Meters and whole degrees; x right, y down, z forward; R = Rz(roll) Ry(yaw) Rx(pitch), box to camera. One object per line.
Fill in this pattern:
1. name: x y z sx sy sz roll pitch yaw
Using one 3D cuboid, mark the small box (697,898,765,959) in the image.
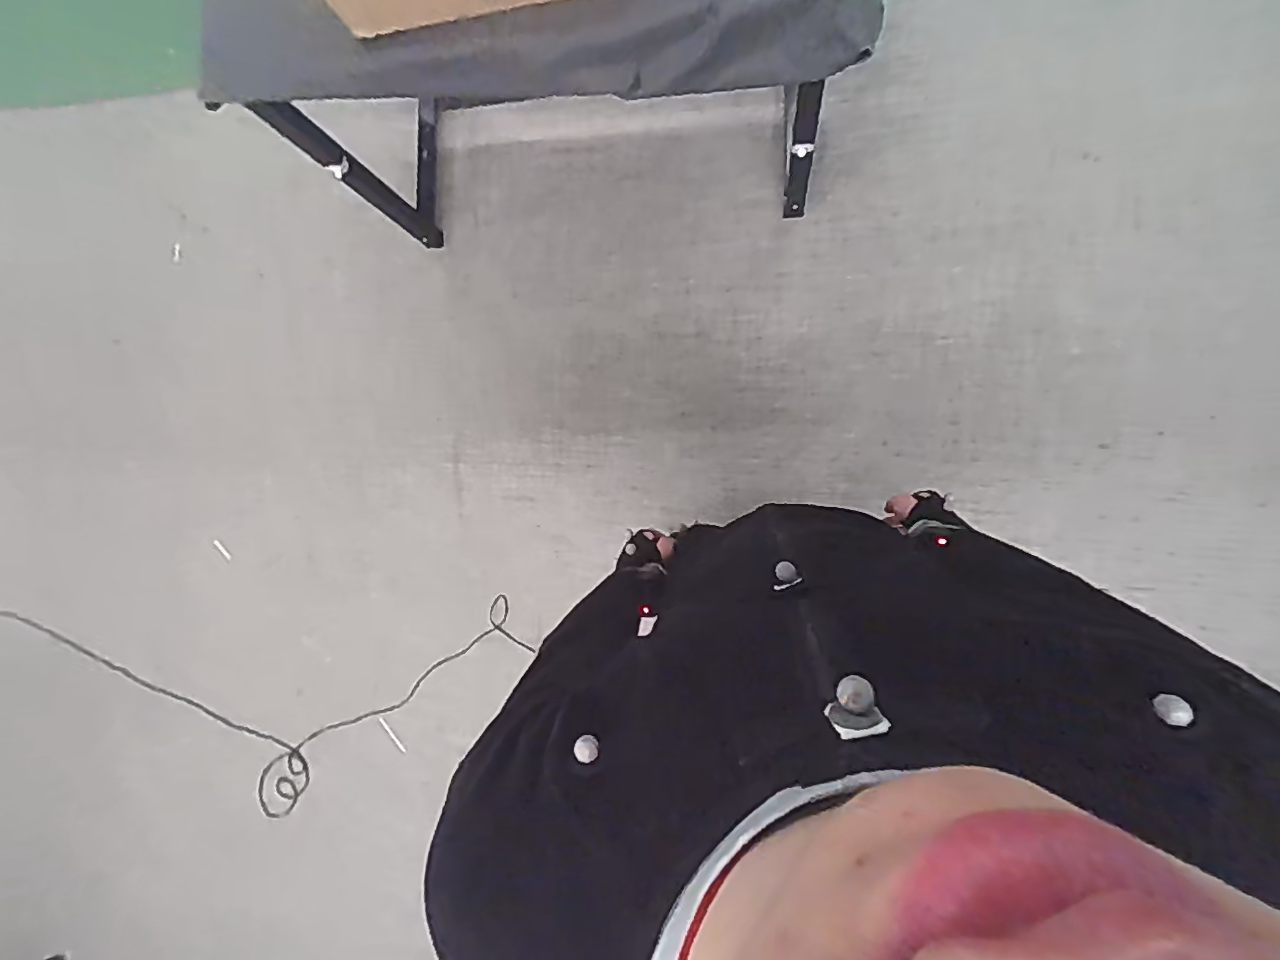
1. small box: 0.244 1.261 1.431 0.168 0.176 0.179 -5 86 11
